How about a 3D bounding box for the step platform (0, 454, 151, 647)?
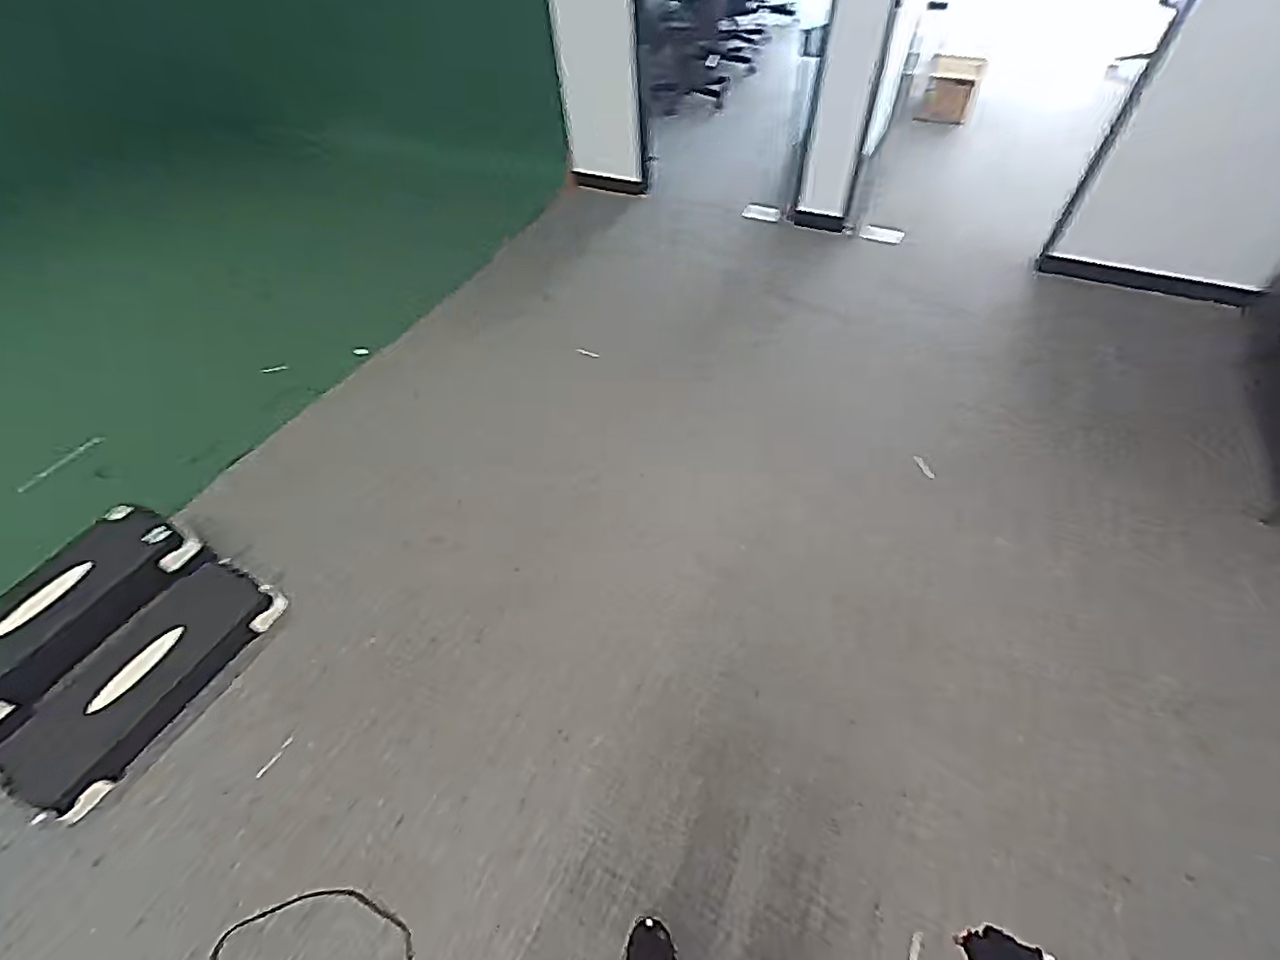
[{"bbox_3d":[-1.707,0.255,1.406,0.286,0.204,0.684,22,57,18],"label":"step platform"}]
